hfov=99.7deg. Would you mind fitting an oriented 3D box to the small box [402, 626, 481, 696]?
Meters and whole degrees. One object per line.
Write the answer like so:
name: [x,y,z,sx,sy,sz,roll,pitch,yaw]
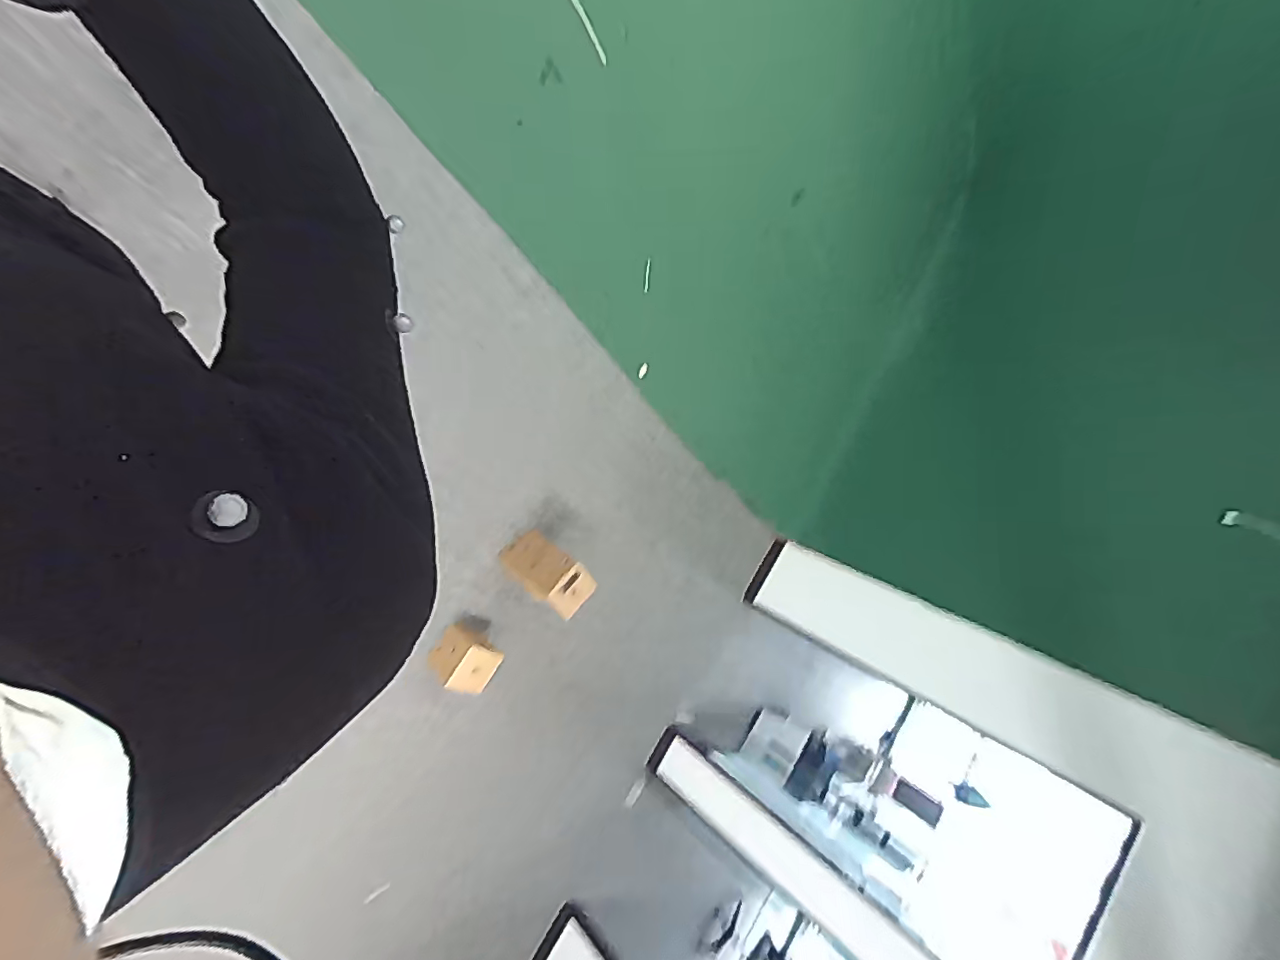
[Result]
small box: [-0.730,0.658,1.979,0.168,0.176,0.179,-56,141,-10]
